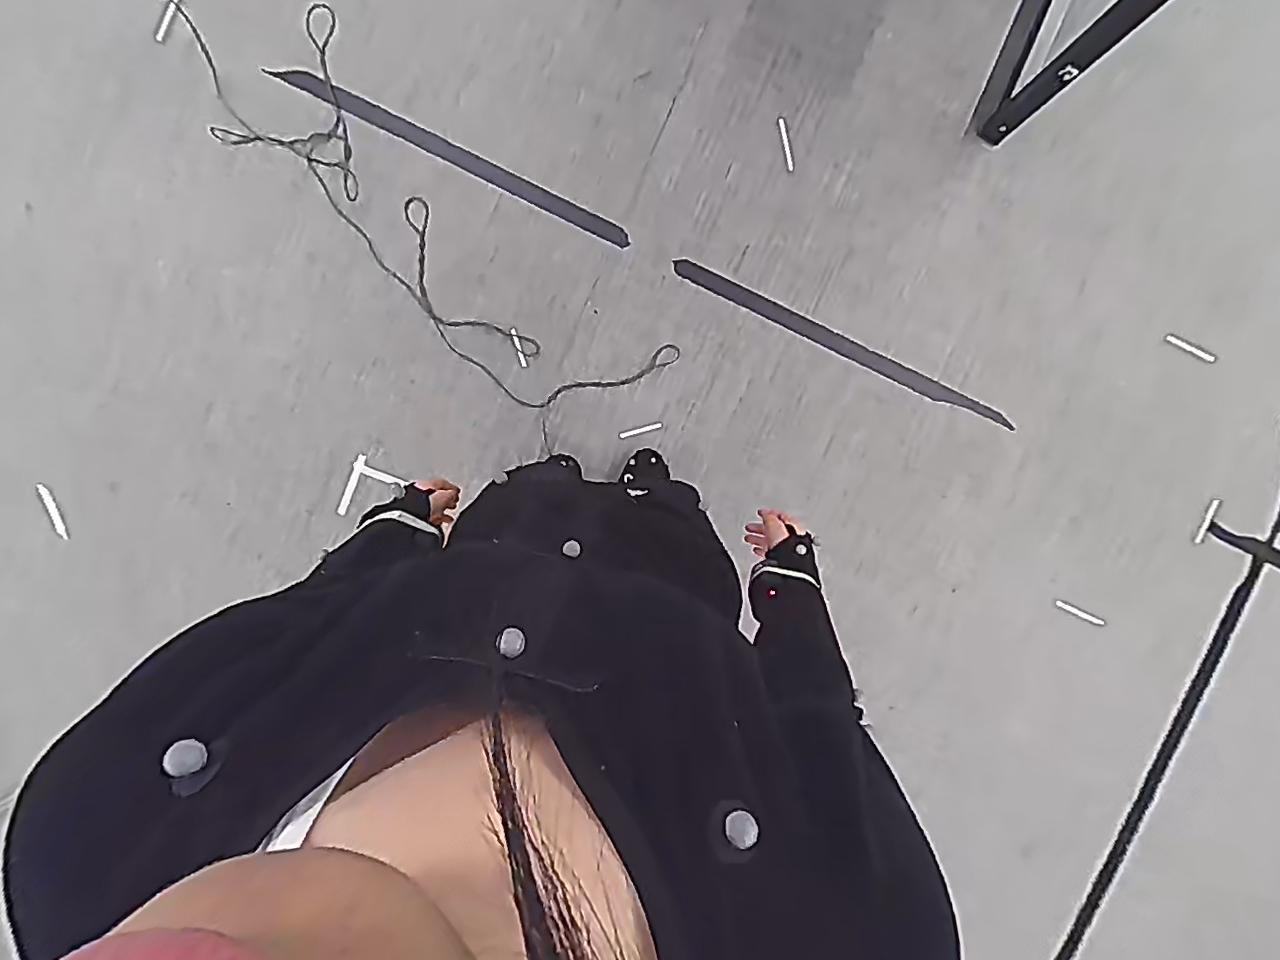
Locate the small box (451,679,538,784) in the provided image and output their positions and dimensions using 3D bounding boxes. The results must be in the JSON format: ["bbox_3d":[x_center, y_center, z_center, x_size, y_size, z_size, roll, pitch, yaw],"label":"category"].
[{"bbox_3d":[-0.369,0.643,1.403,0.168,0.176,0.179,15,92,-3],"label":"small box"}]
